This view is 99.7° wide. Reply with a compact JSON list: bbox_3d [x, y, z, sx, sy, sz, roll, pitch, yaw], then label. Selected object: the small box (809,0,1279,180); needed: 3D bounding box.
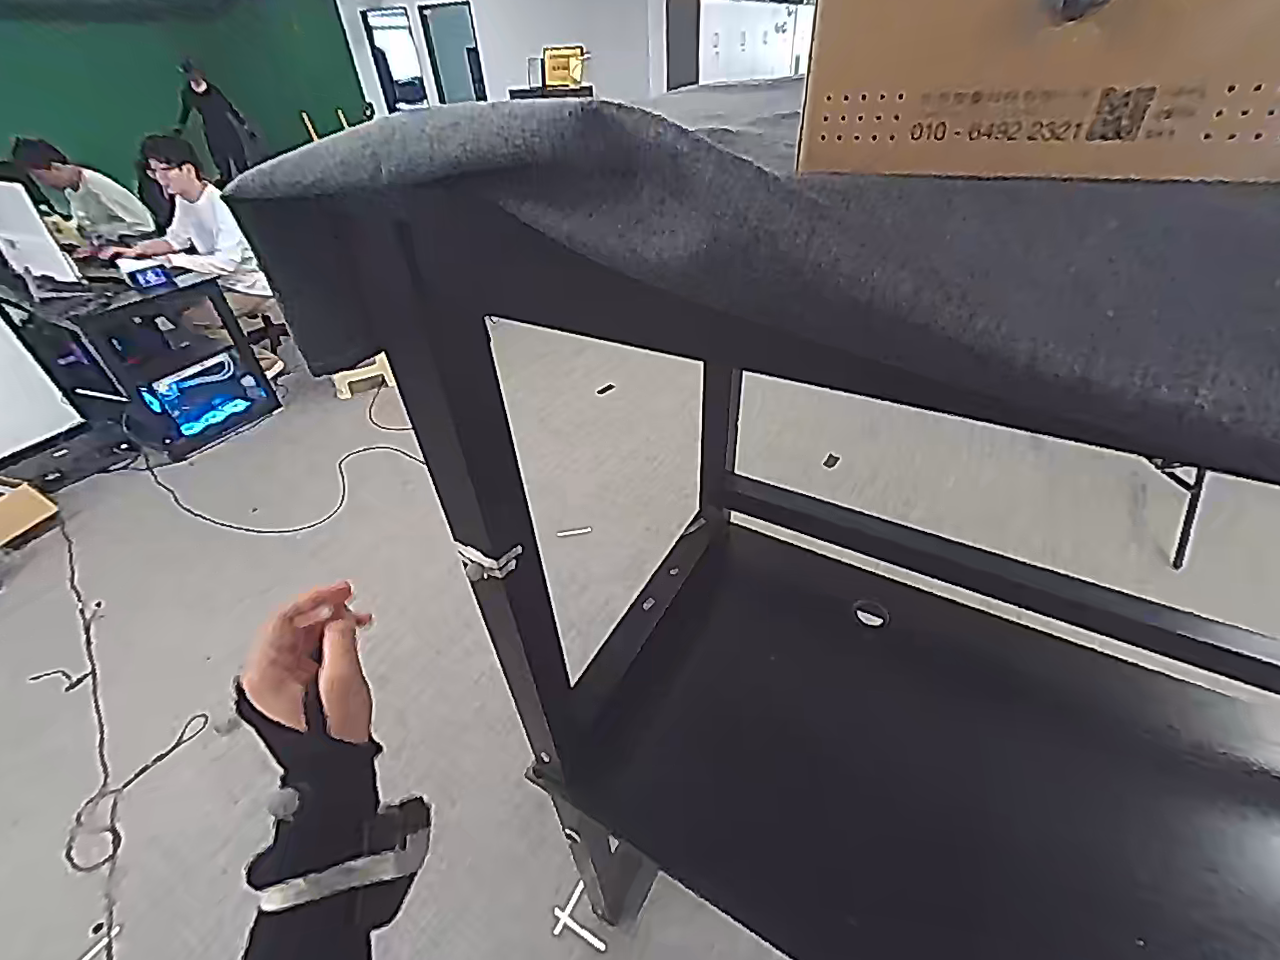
[{"bbox_3d":[0.169,-0.227,0.209,0.168,0.176,0.179,12,40,18],"label":"small box"}]
